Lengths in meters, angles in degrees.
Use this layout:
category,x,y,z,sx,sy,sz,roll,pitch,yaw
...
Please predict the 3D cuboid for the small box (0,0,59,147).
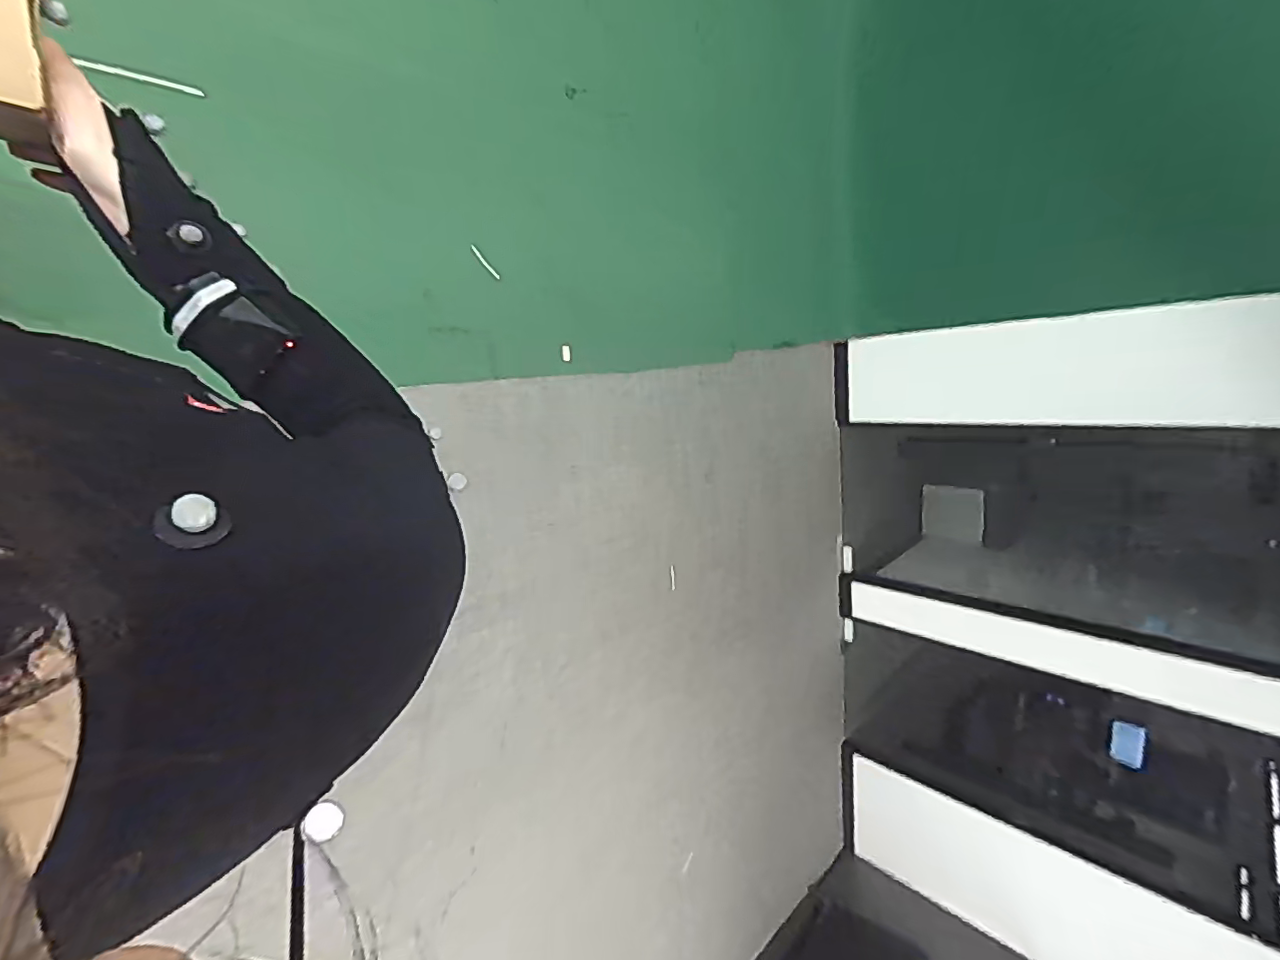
category,x,y,z,sx,sy,sz,roll,pitch,yaw
small box,-0.439,-0.294,0.280,0.179,0.176,0.168,-7,113,-45
